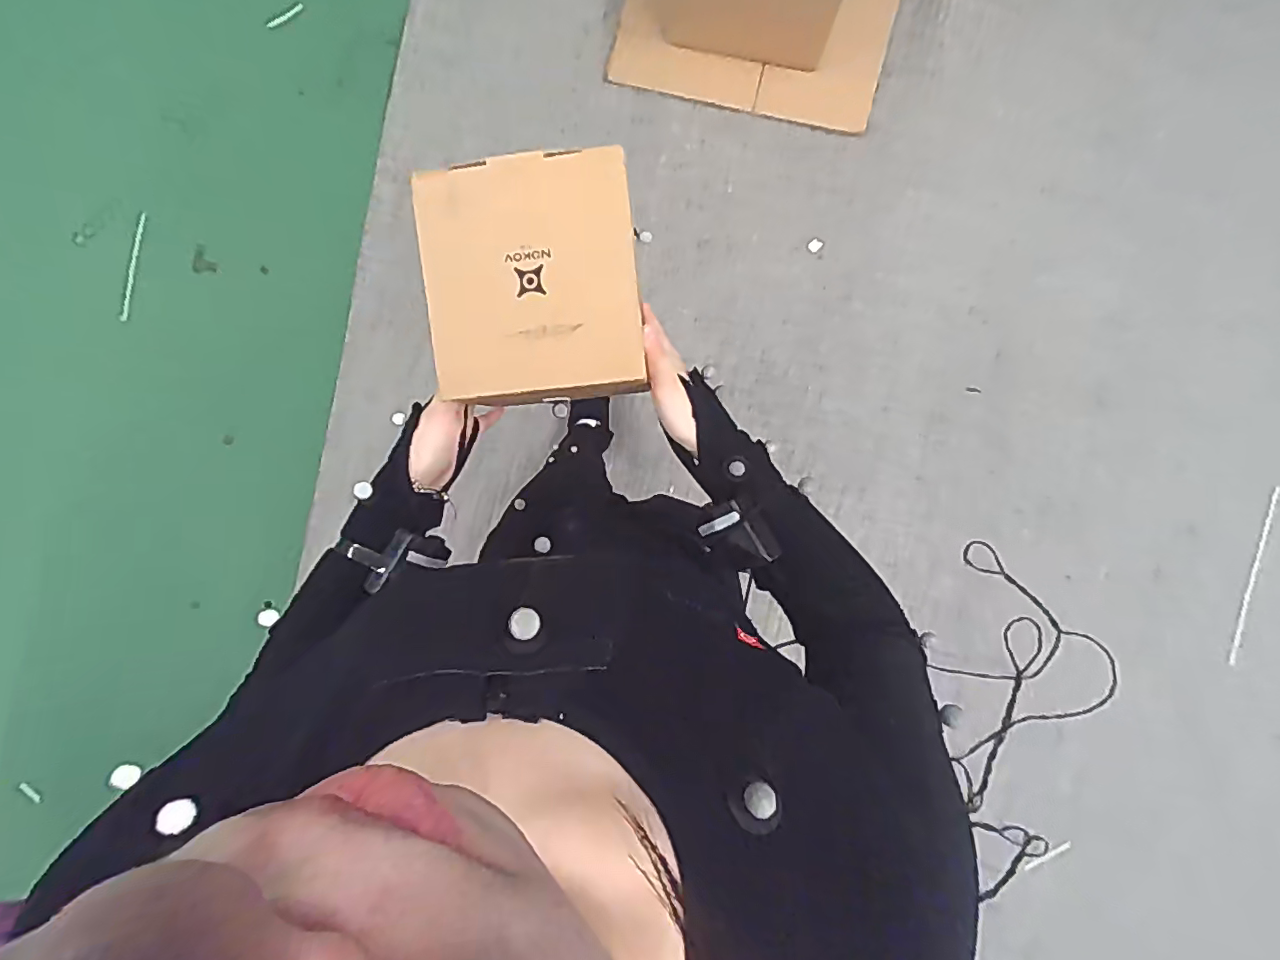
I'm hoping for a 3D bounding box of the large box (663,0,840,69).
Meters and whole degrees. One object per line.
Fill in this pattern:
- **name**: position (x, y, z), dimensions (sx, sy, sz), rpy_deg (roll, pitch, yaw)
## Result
- **large box**: position (0.278, -1.247, 1.261), dimensions (0.408, 0.320, 0.320), rpy_deg (12, 93, 1)
